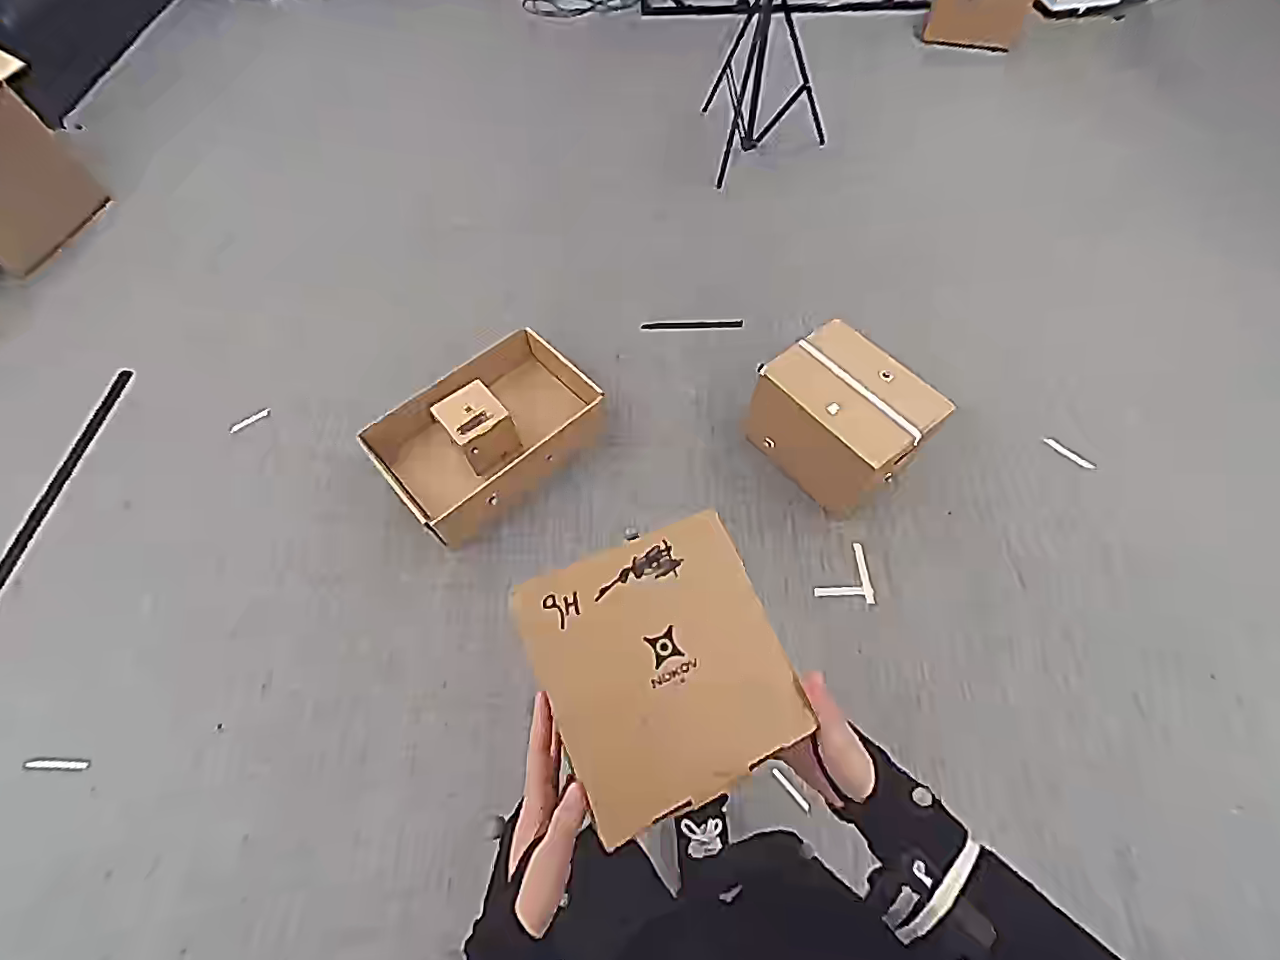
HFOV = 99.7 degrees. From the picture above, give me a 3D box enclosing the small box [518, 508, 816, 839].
[{"bbox_3d":[0.005,0.147,0.451,0.168,0.176,0.179,-19,77,-19],"label":"small box"}]
